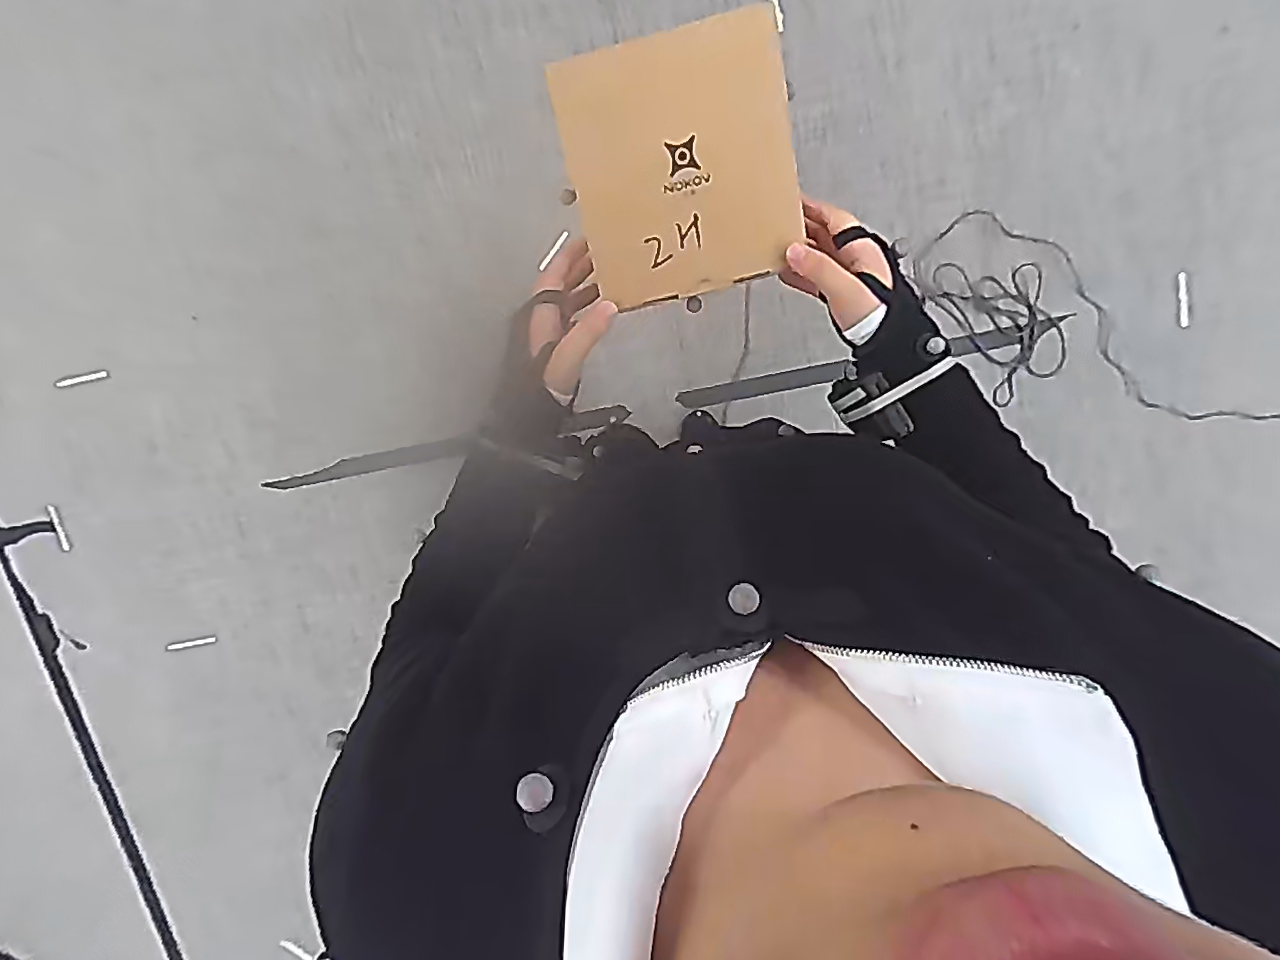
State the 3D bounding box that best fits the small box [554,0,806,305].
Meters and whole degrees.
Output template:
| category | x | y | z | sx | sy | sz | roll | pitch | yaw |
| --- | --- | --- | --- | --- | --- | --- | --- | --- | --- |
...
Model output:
| category | x | y | z | sx | sy | sz | roll | pitch | yaw |
| --- | --- | --- | --- | --- | --- | --- | --- | --- | --- |
| small box | 0.033 | -0.263 | 0.481 | 0.168 | 0.176 | 0.179 | -12 | 107 | 4 |
